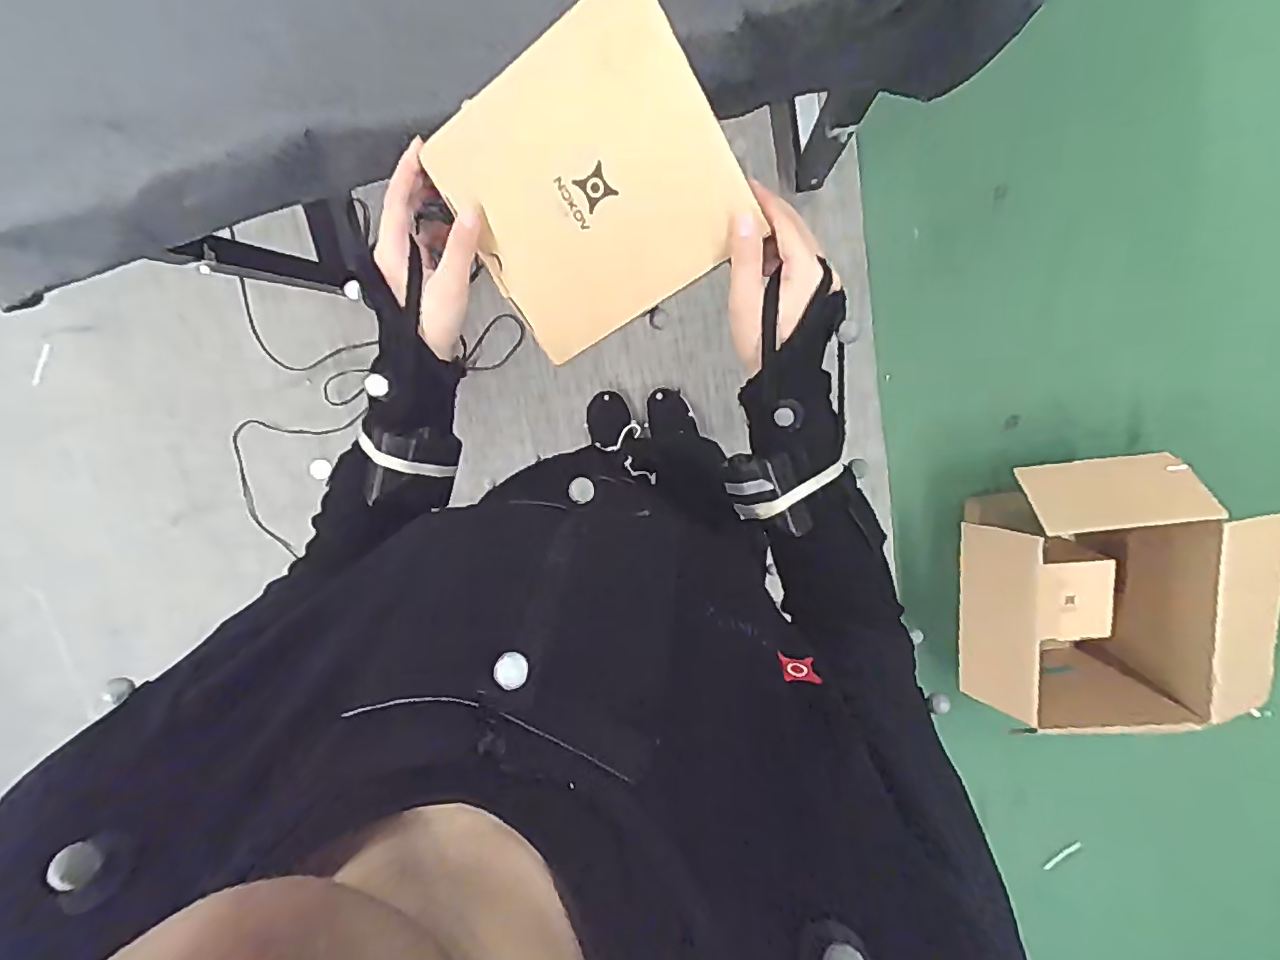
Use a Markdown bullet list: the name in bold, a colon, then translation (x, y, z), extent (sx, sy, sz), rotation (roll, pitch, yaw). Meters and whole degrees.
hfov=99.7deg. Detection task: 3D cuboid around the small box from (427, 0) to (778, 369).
- **small box**: translation (-0.015, -0.214, 0.415), extent (0.179, 0.176, 0.168), rotation (-27, 107, 20)
